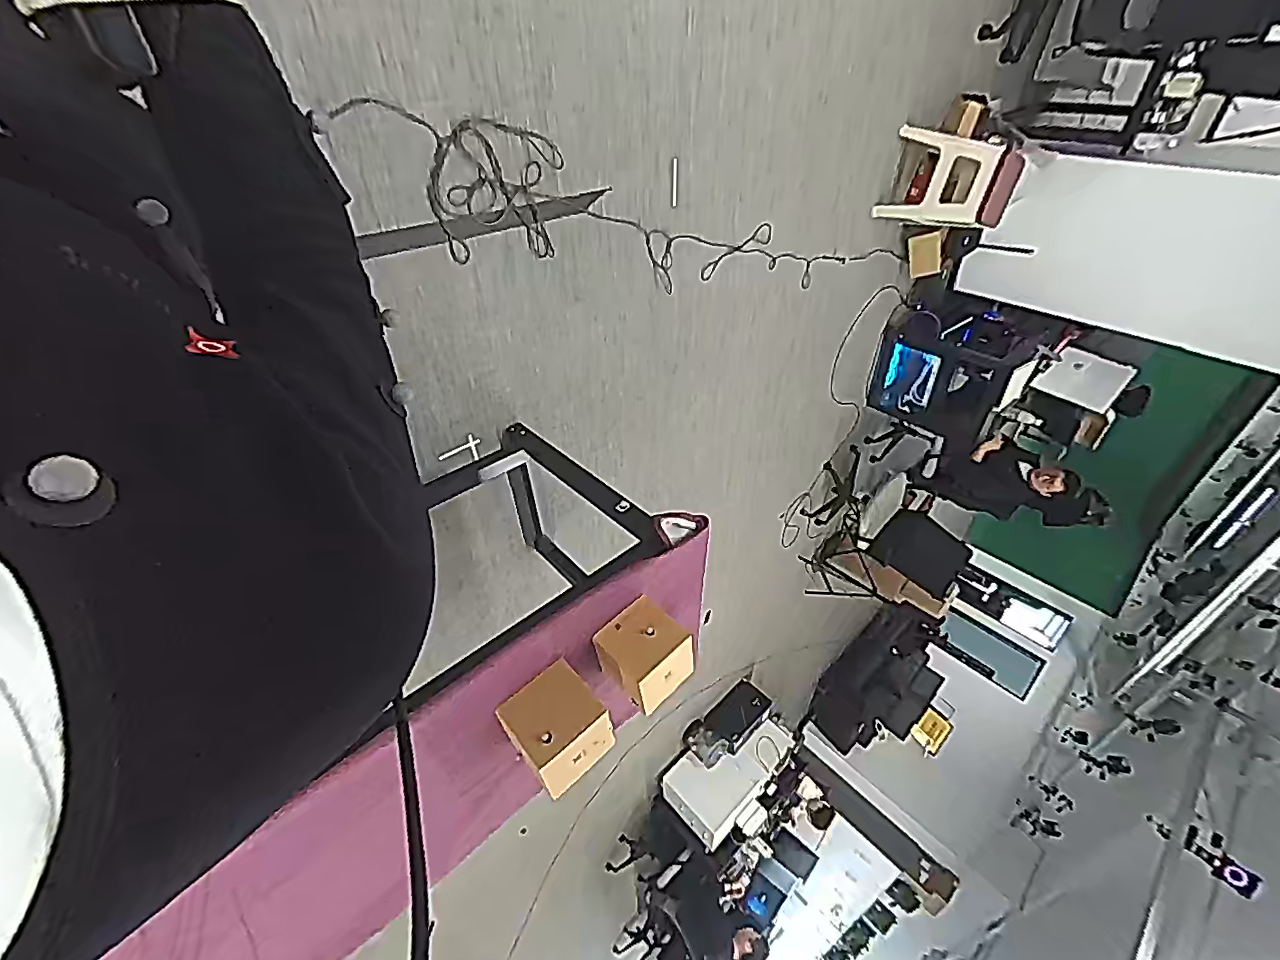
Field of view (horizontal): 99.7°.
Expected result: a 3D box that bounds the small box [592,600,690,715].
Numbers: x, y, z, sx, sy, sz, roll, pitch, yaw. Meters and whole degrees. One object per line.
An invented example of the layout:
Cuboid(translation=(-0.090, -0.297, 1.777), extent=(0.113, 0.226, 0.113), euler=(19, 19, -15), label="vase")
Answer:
Cuboid(translation=(0.002, 0.414, 1.292), extent=(0.168, 0.176, 0.179), euler=(-36, 140, -26), label="small box")

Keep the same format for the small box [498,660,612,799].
Cuboid(translation=(-0.186, 0.529, 1.161), extent=(0.179, 0.176, 0.168), euler=(-33, 140, -28), label="small box")
